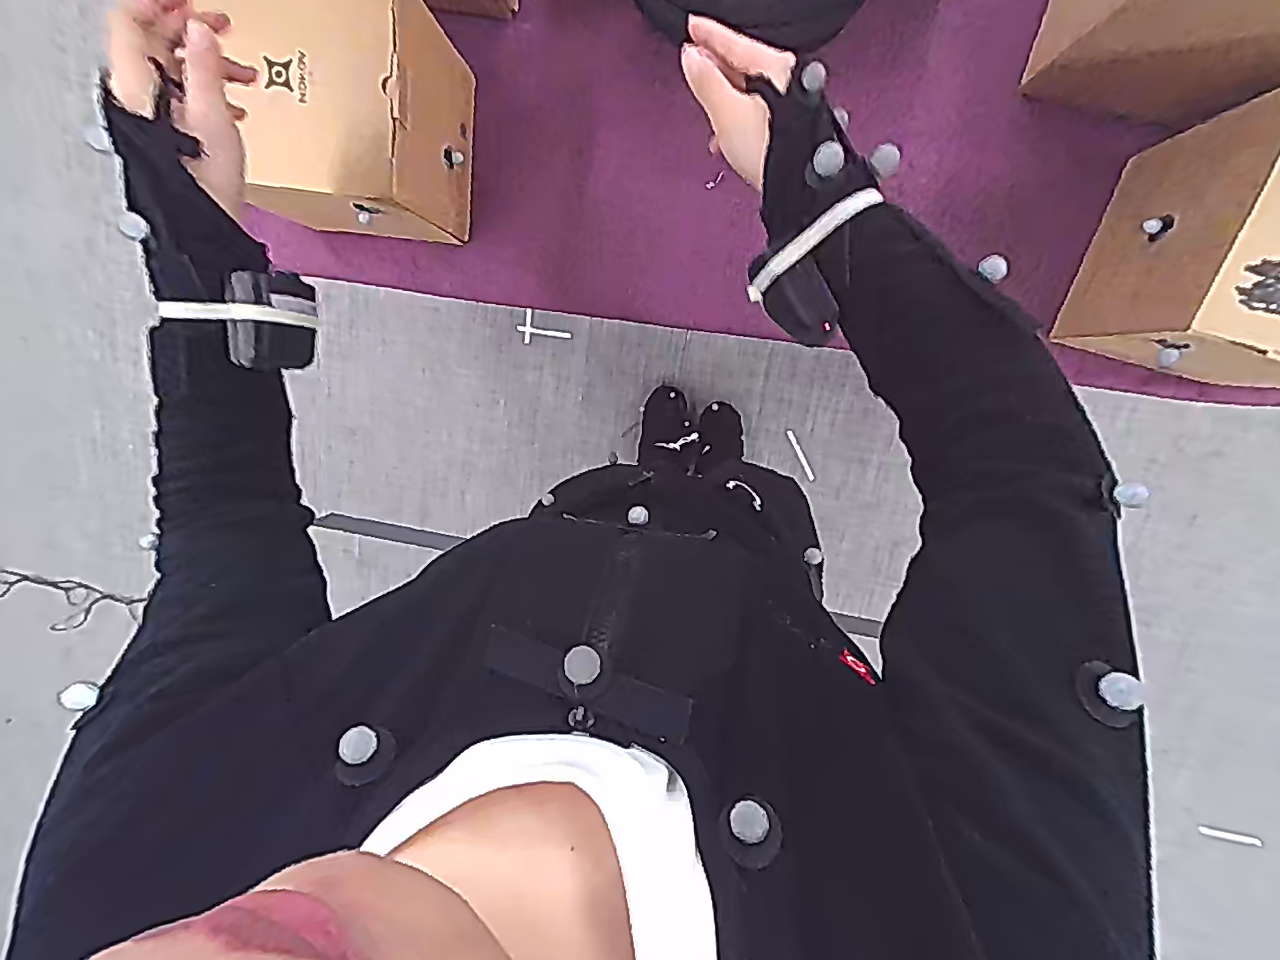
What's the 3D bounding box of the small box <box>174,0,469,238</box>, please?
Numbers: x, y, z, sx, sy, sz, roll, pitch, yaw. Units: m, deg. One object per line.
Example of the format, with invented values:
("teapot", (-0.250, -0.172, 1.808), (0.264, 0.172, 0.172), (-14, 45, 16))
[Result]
("small box", (-0.277, -0.335, 0.504), (0.179, 0.176, 0.168), (6, 103, 1))
